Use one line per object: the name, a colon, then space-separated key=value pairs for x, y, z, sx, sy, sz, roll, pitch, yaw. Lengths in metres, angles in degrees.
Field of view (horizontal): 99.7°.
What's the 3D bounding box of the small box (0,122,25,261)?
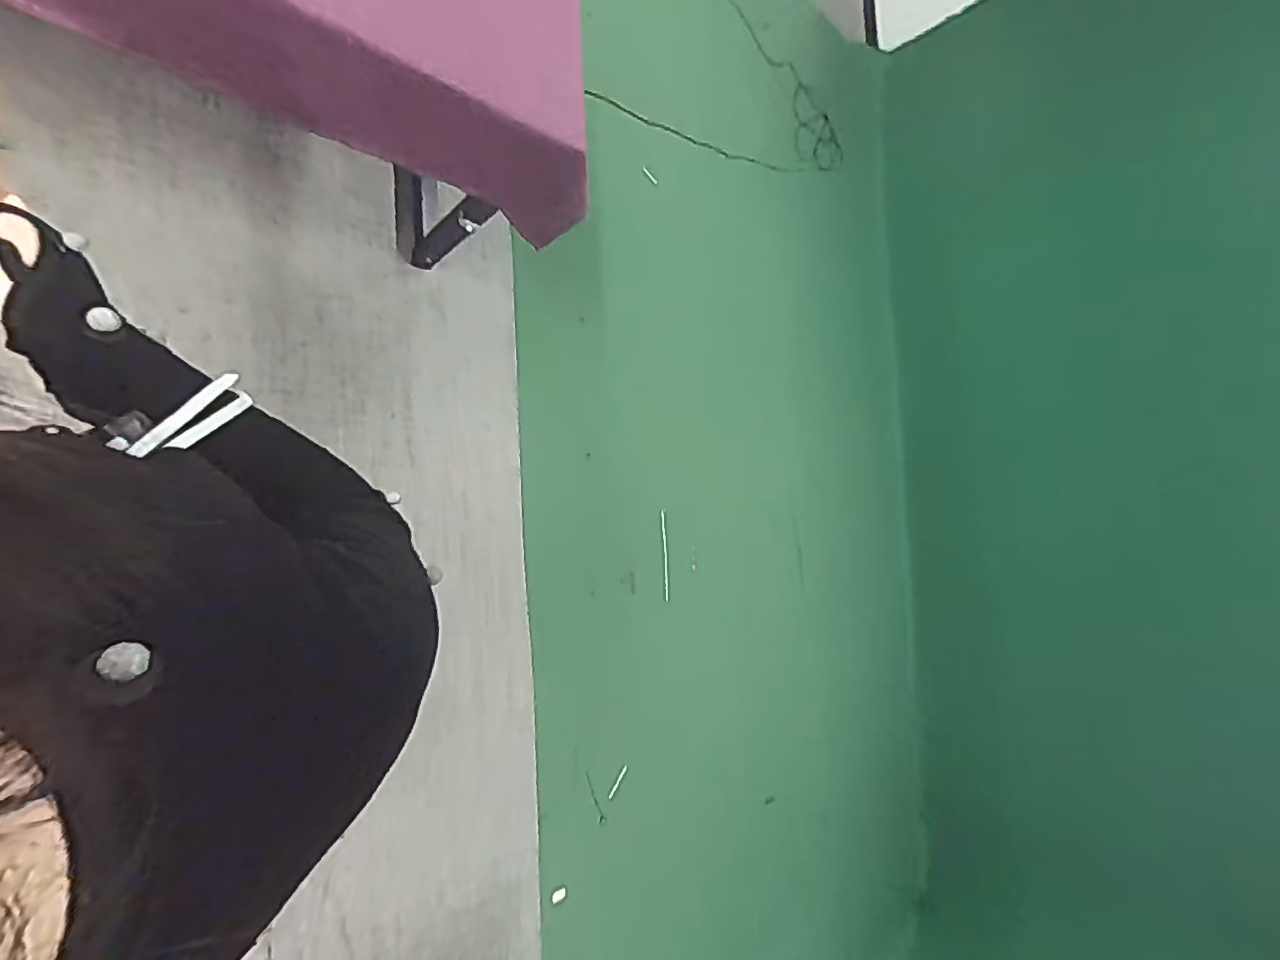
small box: x=-0.535 y=-0.255 z=0.340 sx=0.168 sy=0.176 sz=0.179 roll=-11 pitch=96 yaw=-42
